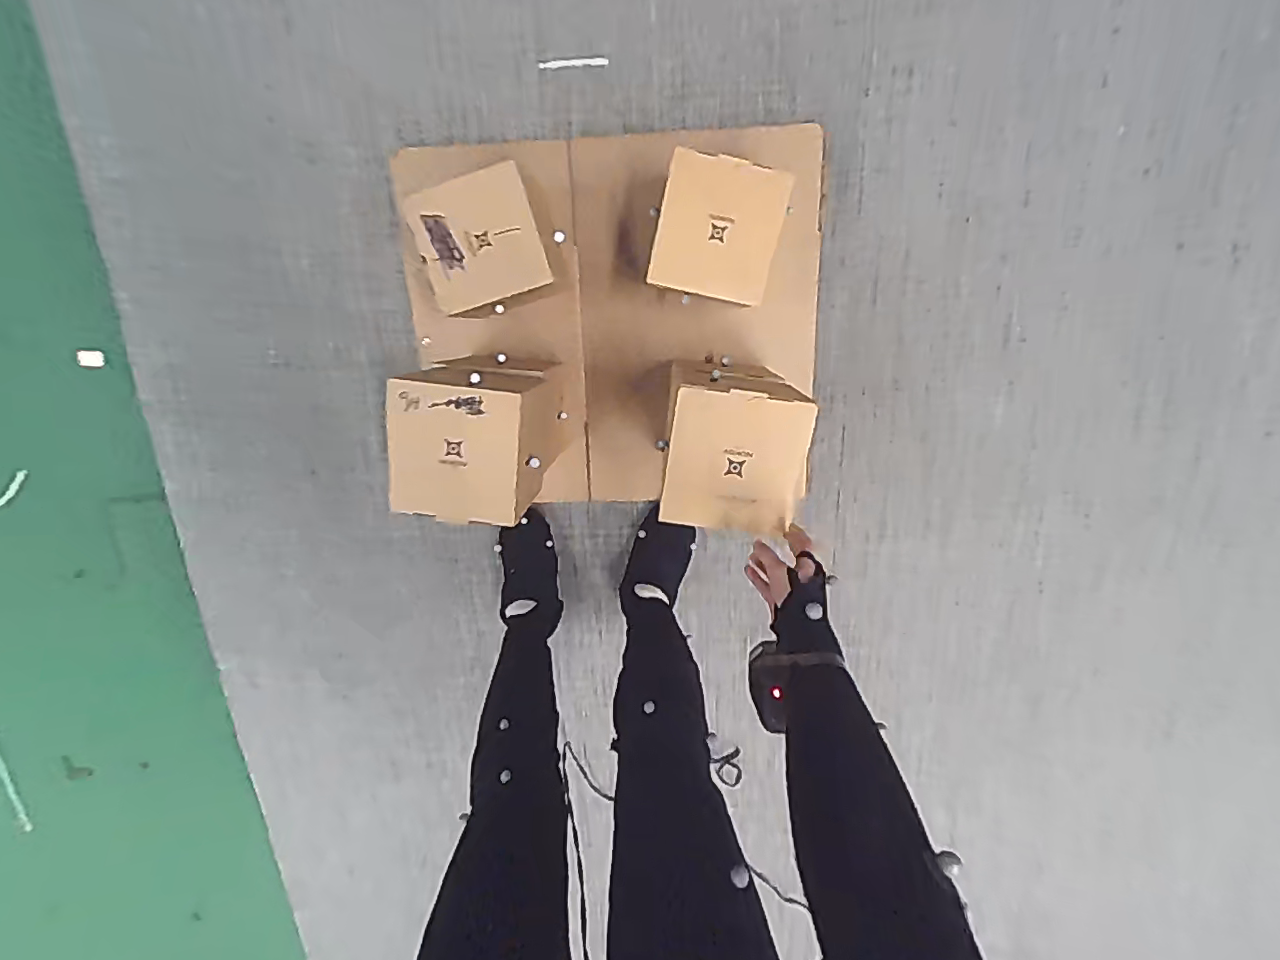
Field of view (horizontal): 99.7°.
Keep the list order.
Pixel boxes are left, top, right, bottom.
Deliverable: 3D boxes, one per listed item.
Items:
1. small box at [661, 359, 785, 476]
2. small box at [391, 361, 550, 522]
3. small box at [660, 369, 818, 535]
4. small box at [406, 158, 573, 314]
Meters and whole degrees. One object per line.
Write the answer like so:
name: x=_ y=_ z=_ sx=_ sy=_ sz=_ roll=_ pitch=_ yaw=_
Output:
small box: x=0.128 y=-0.098 z=0.887 sx=0.168 sy=0.176 sz=0.179 roll=6 pitch=106 yaw=2
small box: x=-0.225 y=-0.061 z=0.752 sx=0.168 sy=0.176 sz=0.179 roll=7 pitch=107 yaw=0
small box: x=0.121 y=-0.048 z=0.731 sx=0.168 sy=0.176 sz=0.179 roll=9 pitch=107 yaw=1
small box: x=-0.219 y=-0.361 z=0.836 sx=0.179 sy=0.176 sz=0.168 roll=-15 pitch=105 yaw=7
